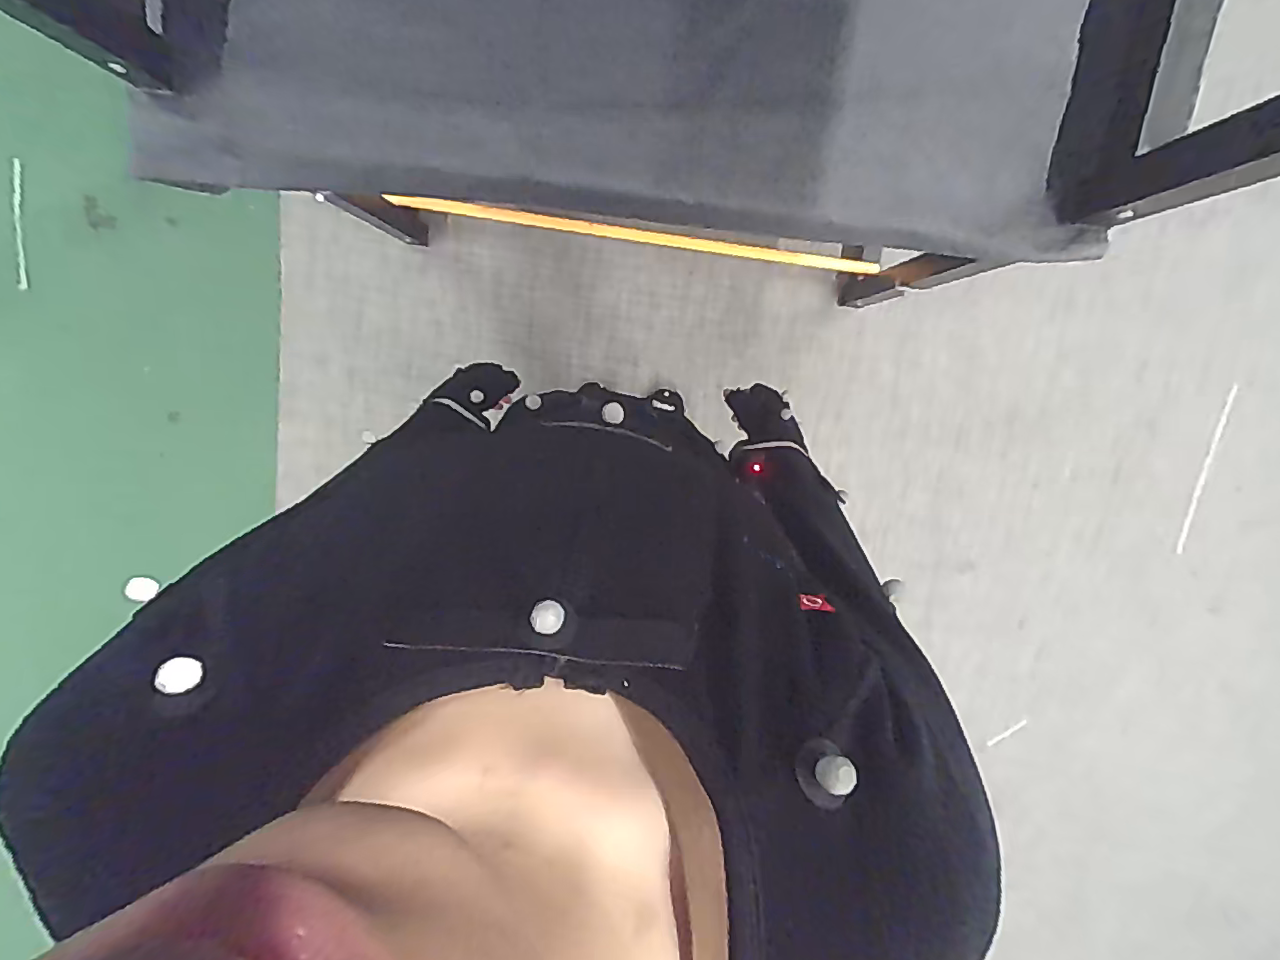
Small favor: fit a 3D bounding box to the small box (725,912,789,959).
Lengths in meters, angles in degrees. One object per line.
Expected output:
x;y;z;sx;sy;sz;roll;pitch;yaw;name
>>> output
0.367;1.511;1.690;0.168;0.176;0.179;7;100;-1;small box
